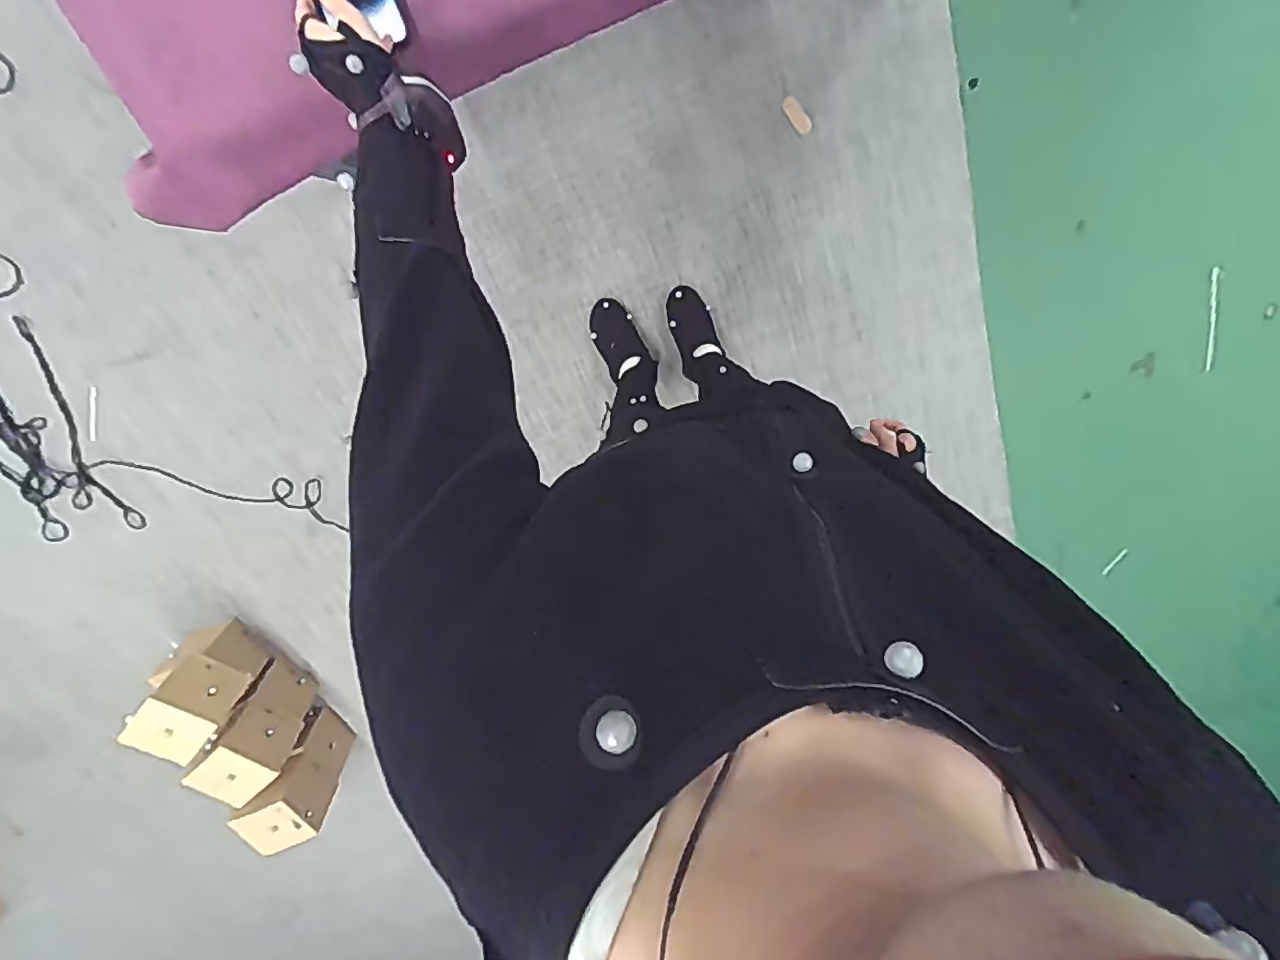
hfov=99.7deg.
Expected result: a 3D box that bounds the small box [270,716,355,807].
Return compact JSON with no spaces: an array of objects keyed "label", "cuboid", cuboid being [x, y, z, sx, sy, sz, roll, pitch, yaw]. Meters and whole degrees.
[{"label":"small box","cuboid":[-1.042,0.875,1.699,0.168,0.176,0.179,-23,115,4]}]

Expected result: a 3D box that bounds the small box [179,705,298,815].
[{"label":"small box","cuboid":[-1.071,0.752,1.466,0.179,0.176,0.168,-39,112,10]}]

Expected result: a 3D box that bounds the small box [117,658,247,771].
[{"label":"small box","cuboid":[-1.158,0.594,1.385,0.168,0.176,0.179,38,105,-20]}]
